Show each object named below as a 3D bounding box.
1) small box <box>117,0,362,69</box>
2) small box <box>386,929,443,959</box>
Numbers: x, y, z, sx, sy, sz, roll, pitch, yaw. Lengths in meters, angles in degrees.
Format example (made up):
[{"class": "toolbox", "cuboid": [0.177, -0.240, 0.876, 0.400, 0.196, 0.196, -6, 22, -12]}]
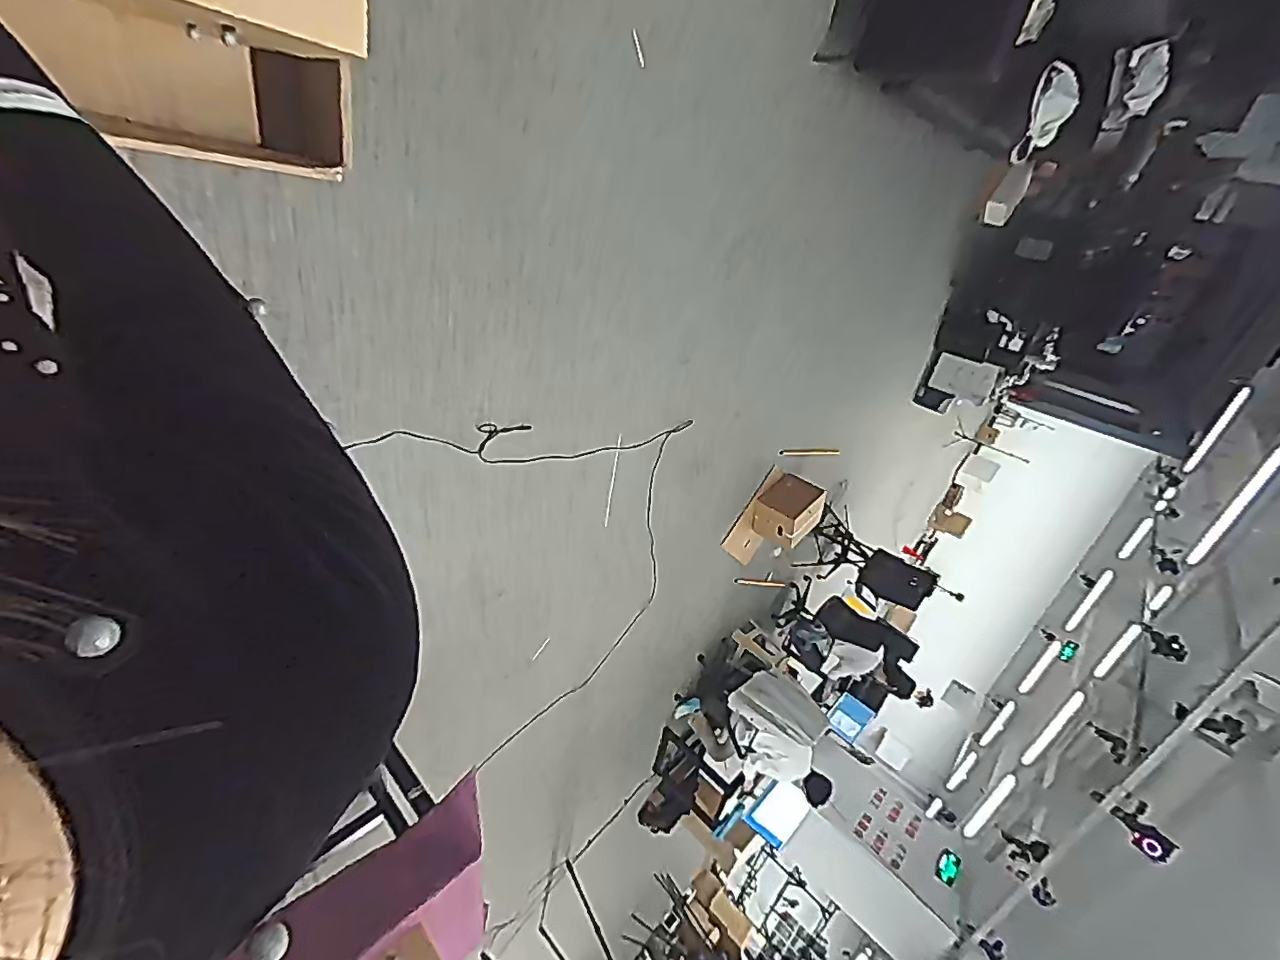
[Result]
[{"class": "small box", "cuboid": [-0.352, -0.477, 0.452, 0.168, 0.176, 0.179, -17, 129, -45]}, {"class": "small box", "cuboid": [-0.604, 1.347, 1.413, 0.179, 0.176, 0.168, -20, 131, -42]}]
